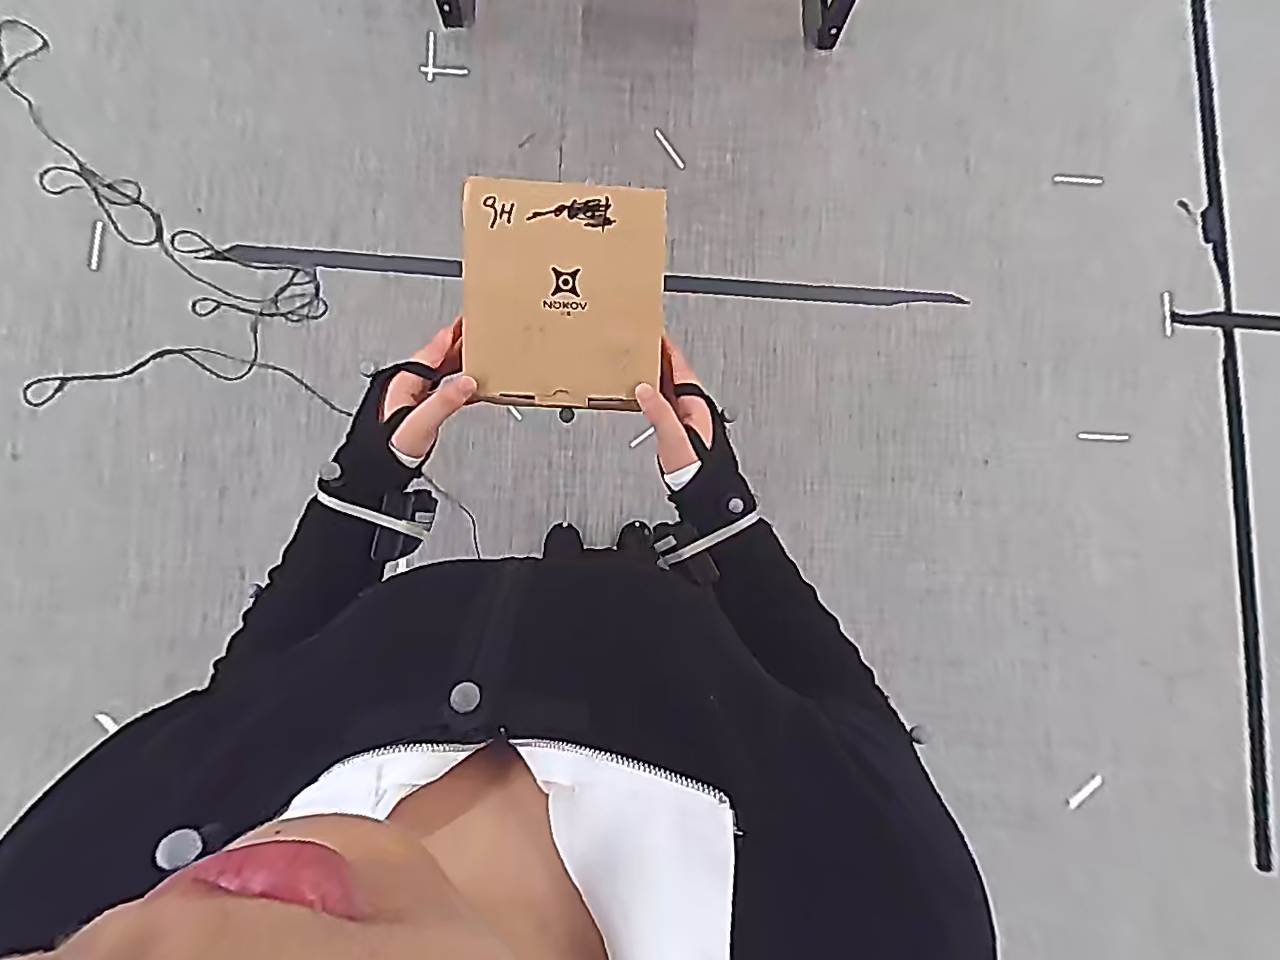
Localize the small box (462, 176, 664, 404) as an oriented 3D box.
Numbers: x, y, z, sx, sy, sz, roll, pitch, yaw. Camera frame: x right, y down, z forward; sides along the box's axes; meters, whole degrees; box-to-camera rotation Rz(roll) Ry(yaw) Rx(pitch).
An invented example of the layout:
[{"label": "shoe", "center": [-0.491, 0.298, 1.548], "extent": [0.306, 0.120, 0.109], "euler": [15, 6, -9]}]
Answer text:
[{"label": "small box", "center": [-0.068, -0.166, 0.528], "extent": [0.168, 0.176, 0.179], "euler": [2, 96, -4]}]
